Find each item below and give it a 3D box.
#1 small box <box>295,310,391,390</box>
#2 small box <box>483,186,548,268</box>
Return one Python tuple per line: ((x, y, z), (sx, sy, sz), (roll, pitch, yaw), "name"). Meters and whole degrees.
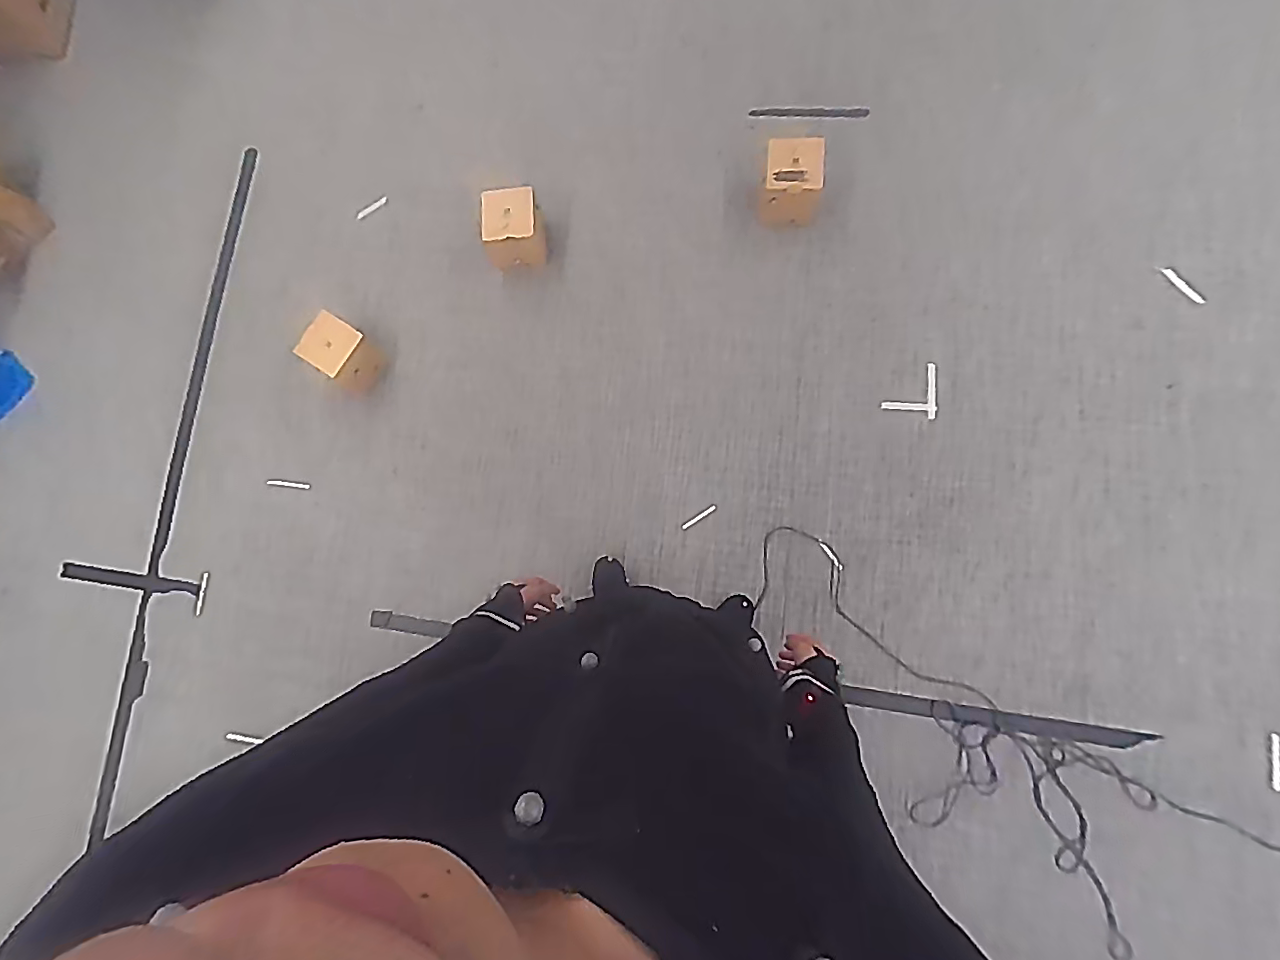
((-0.952, -0.411, 1.752), (0.179, 0.176, 0.168), (32, 86, 10), "small box")
((-0.400, -0.817, 1.757), (0.168, 0.176, 0.179), (-4, 82, 5), "small box")
